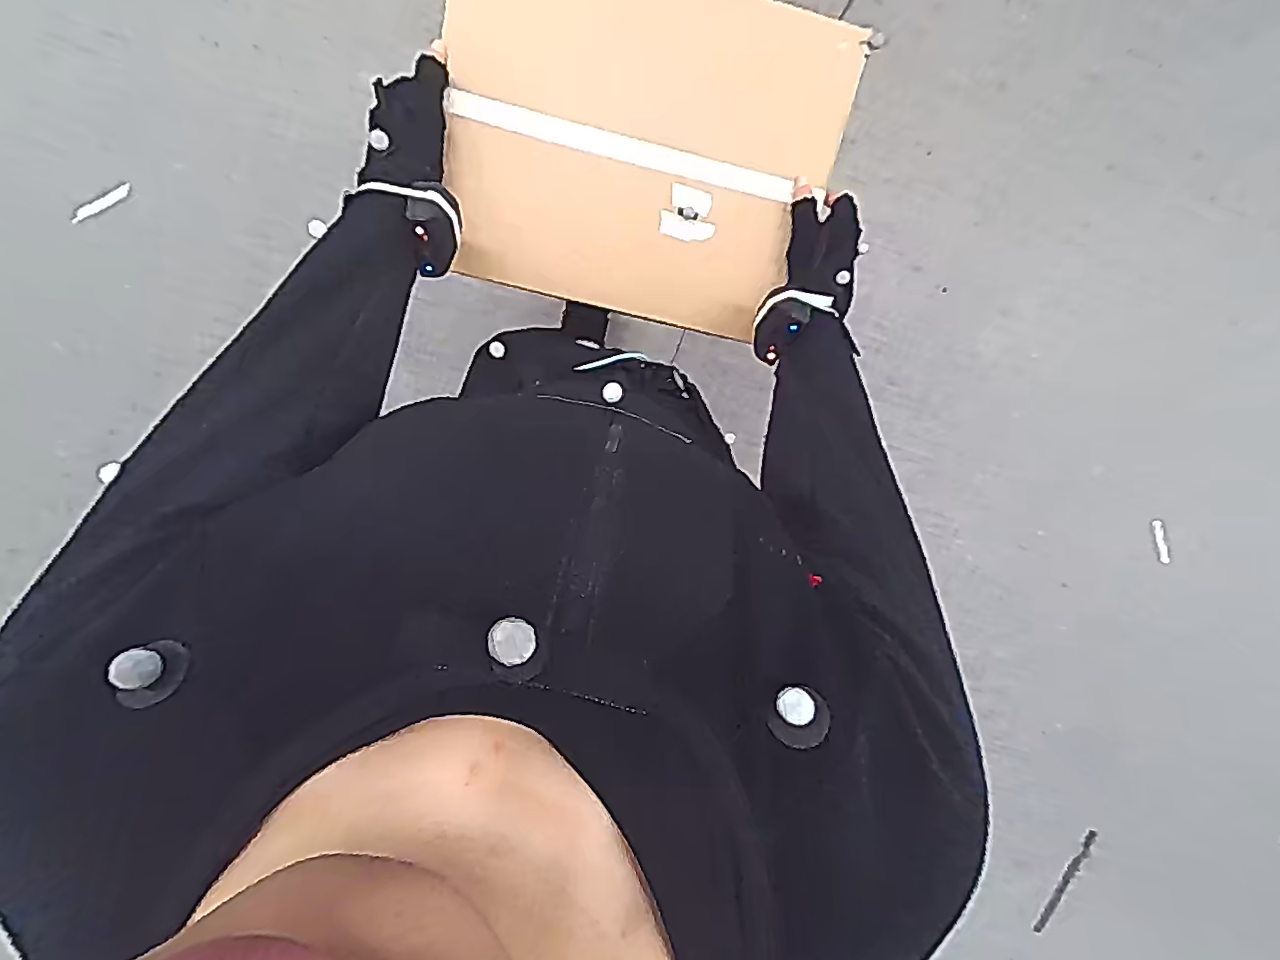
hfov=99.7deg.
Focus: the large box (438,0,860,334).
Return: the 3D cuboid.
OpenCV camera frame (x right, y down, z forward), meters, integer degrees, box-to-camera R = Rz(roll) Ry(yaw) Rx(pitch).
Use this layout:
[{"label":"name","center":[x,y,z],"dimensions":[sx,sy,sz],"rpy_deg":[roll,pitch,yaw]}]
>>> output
[{"label":"large box","center":[-0.009,-0.394,0.713],"dimensions":[0.408,0.320,0.320],"rpy_deg":[11,108,-7]}]
